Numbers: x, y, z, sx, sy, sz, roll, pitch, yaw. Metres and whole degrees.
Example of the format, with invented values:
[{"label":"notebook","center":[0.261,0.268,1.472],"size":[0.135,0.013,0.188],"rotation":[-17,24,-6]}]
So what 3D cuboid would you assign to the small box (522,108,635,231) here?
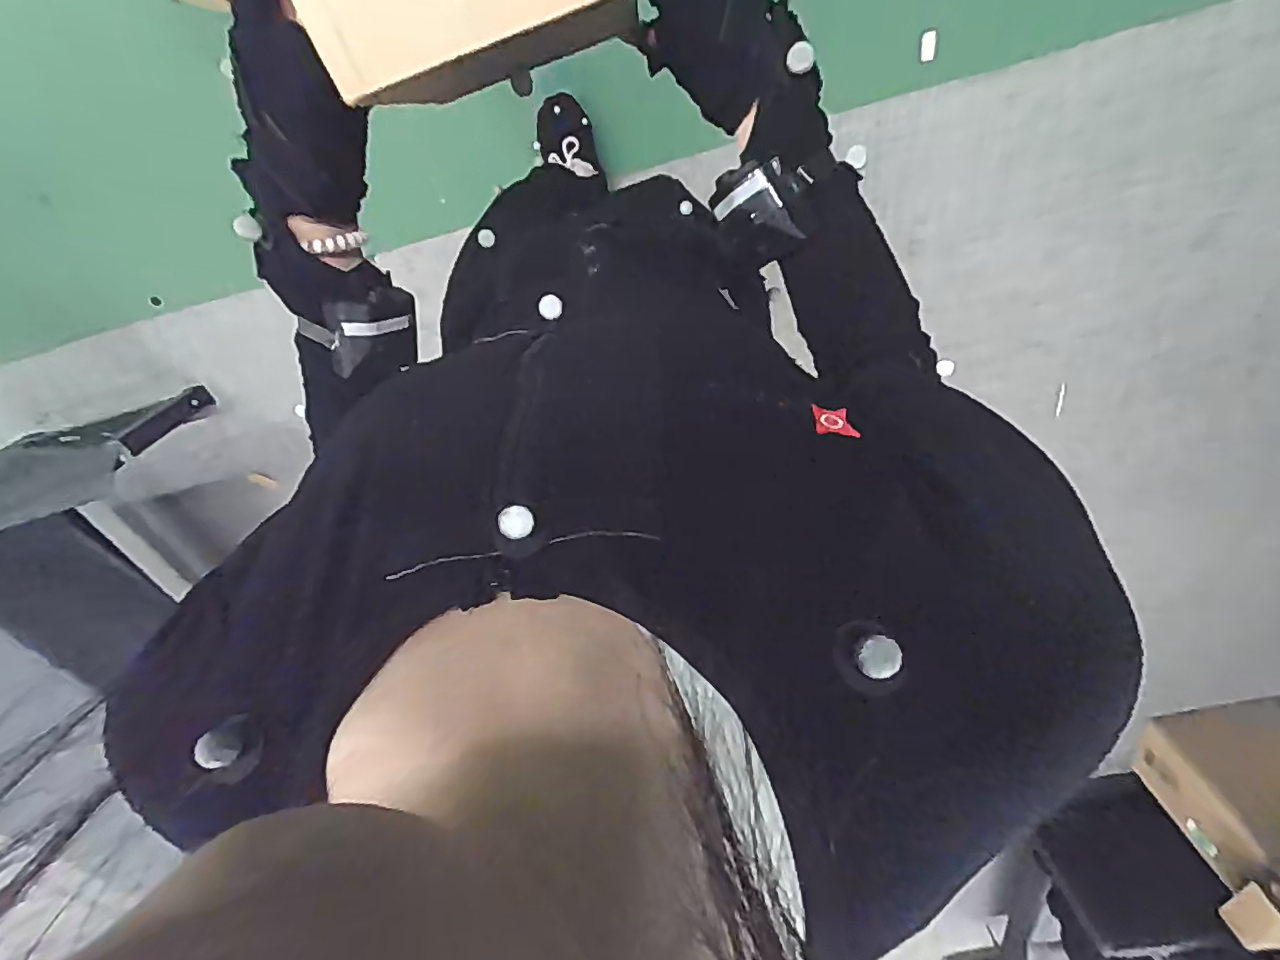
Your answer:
[{"label":"small box","center":[-0.136,-0.667,1.160],"size":[0.179,0.176,0.168],"rotation":[28,131,-2]}]

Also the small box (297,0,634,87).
[{"label":"small box","center":[-0.104,-0.341,0.292],"size":[0.168,0.176,0.179],"rotation":[-13,124,10]}]

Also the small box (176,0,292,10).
[{"label":"small box","center":[-0.727,-0.939,0.929],"size":[0.168,0.176,0.179],"rotation":[-9,123,3]}]
